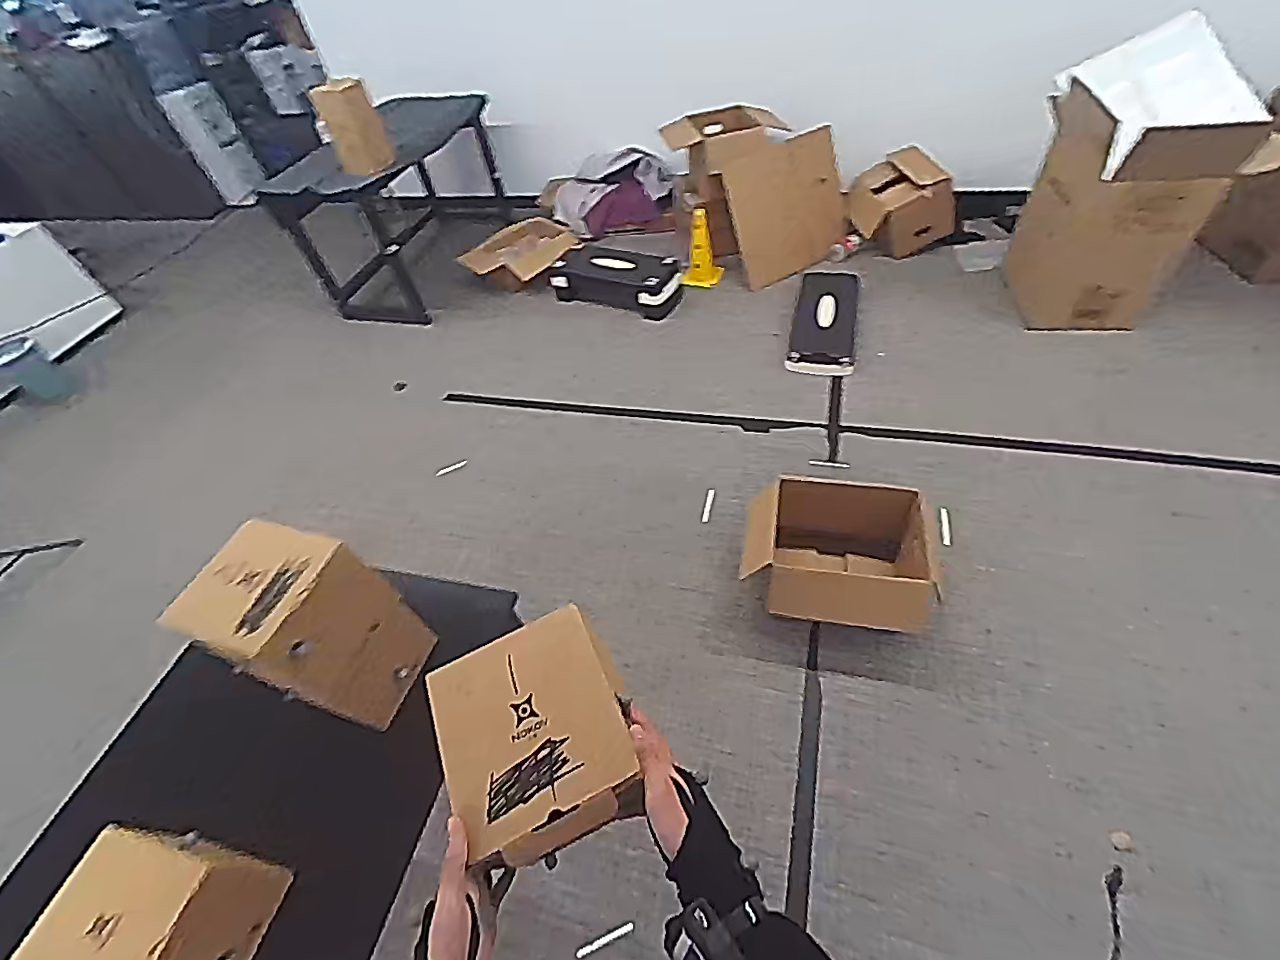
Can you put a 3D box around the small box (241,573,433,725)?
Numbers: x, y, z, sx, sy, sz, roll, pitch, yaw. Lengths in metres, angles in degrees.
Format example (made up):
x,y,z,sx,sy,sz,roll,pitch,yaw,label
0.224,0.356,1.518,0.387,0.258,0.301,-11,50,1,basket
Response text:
x,y,z,sx,sy,sz,roll,pitch,yaw,label
-0.481,0.280,0.886,0.179,0.176,0.168,11,54,17,small box

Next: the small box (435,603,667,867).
x,y,z,sx,sy,sz,roll,pitch,yaw,label
-0.083,0.262,0.555,0.168,0.176,0.179,-24,53,-6,small box

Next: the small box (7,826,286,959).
x,y,z,sx,sy,sz,roll,pitch,yaw,label
-0.607,0.561,0.679,0.179,0.176,0.168,6,52,14,small box
